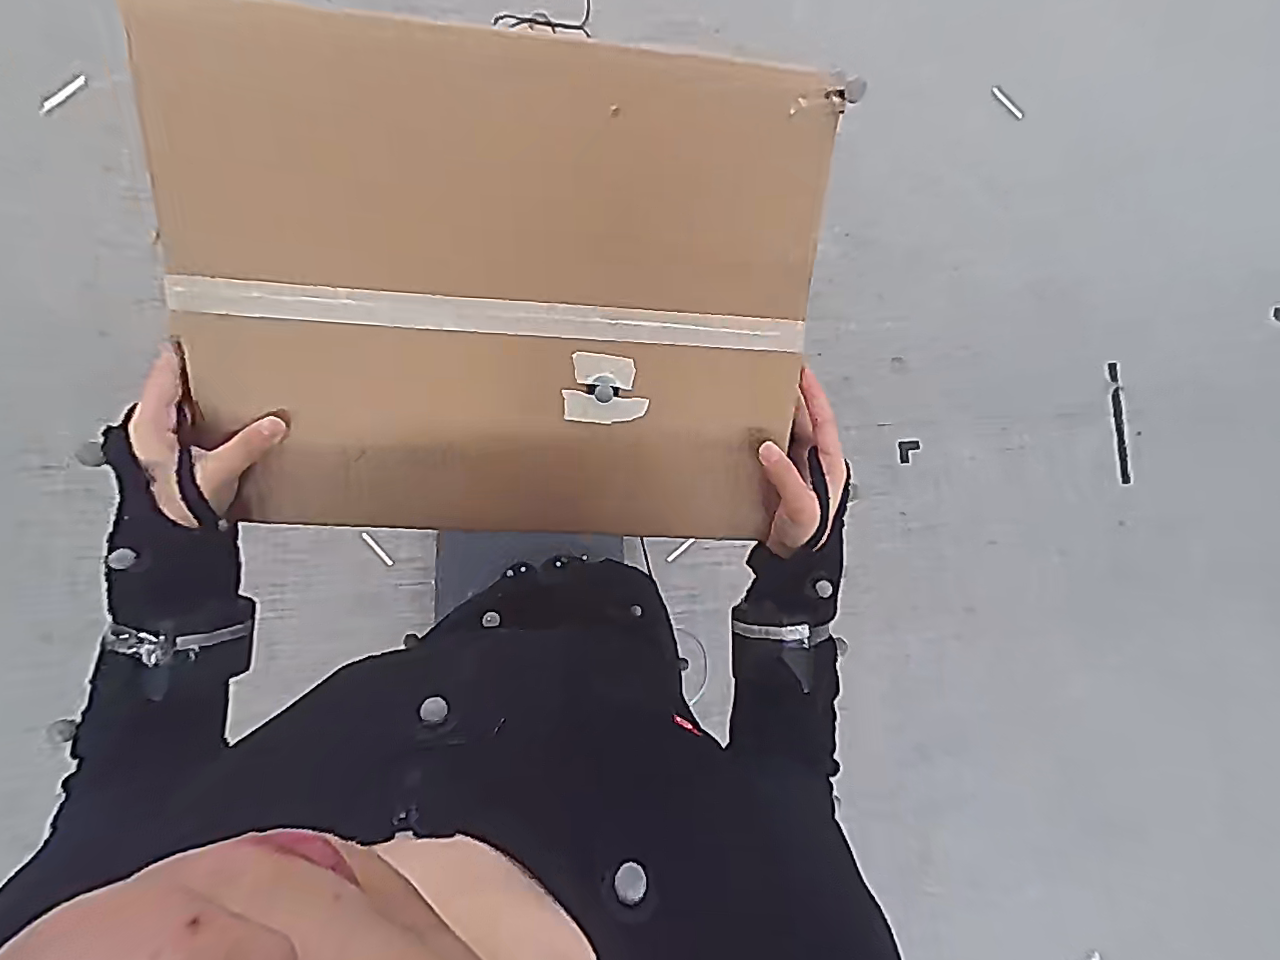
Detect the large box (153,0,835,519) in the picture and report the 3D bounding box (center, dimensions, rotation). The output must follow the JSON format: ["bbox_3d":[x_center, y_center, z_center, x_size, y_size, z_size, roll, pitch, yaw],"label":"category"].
[{"bbox_3d":[-0.098,-0.167,0.503,0.408,0.320,0.320,3,109,-6],"label":"large box"}]
